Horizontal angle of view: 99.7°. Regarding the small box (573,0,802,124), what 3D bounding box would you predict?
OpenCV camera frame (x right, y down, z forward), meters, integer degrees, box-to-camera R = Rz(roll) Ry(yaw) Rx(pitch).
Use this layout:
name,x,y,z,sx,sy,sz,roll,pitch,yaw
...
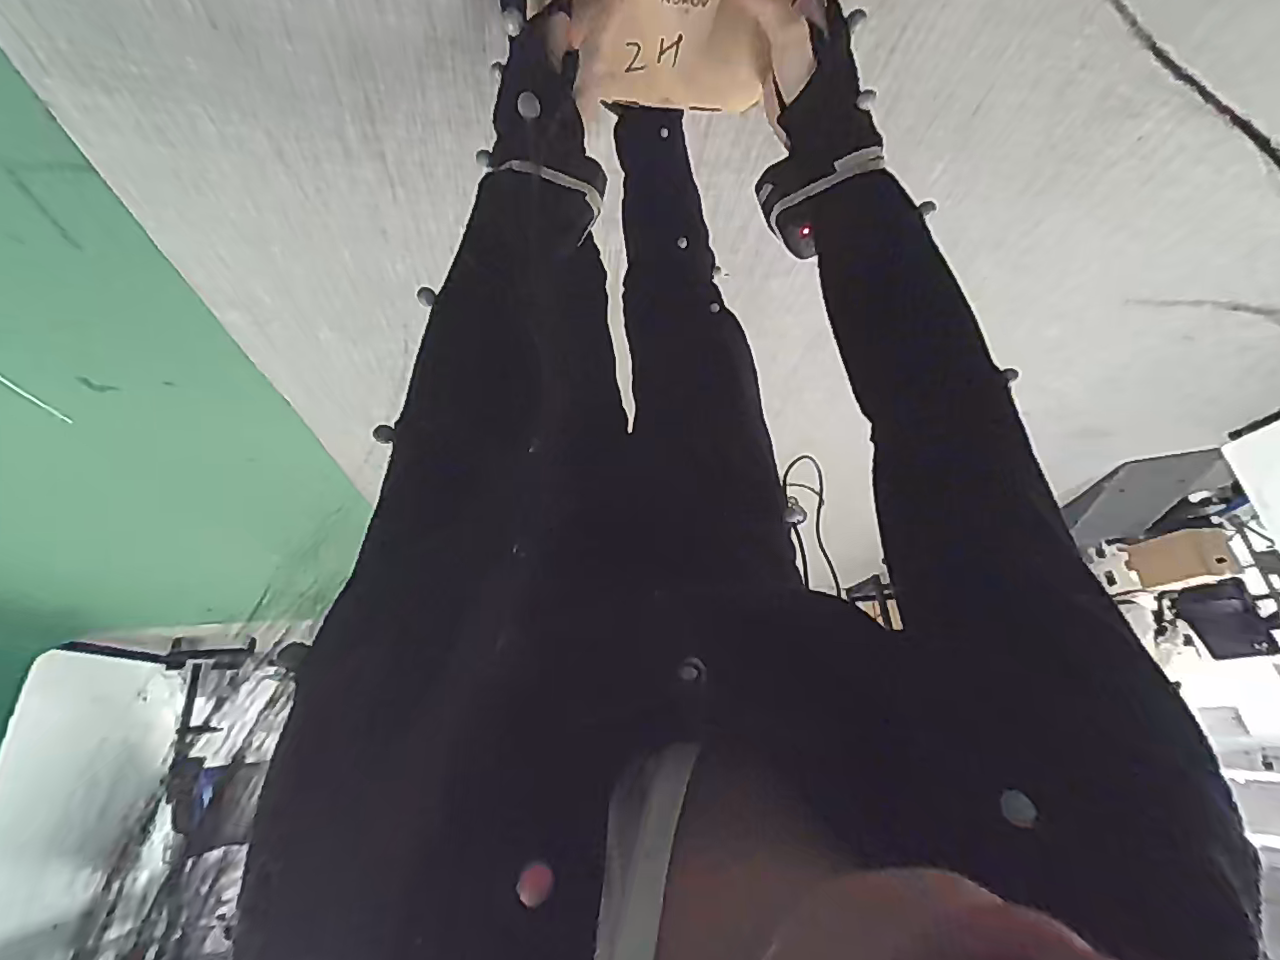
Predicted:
name,x,y,z,sx,sy,sz,roll,pitch,yaw
small box,0.034,-0.431,0.432,0.168,0.176,0.179,0,155,-10
